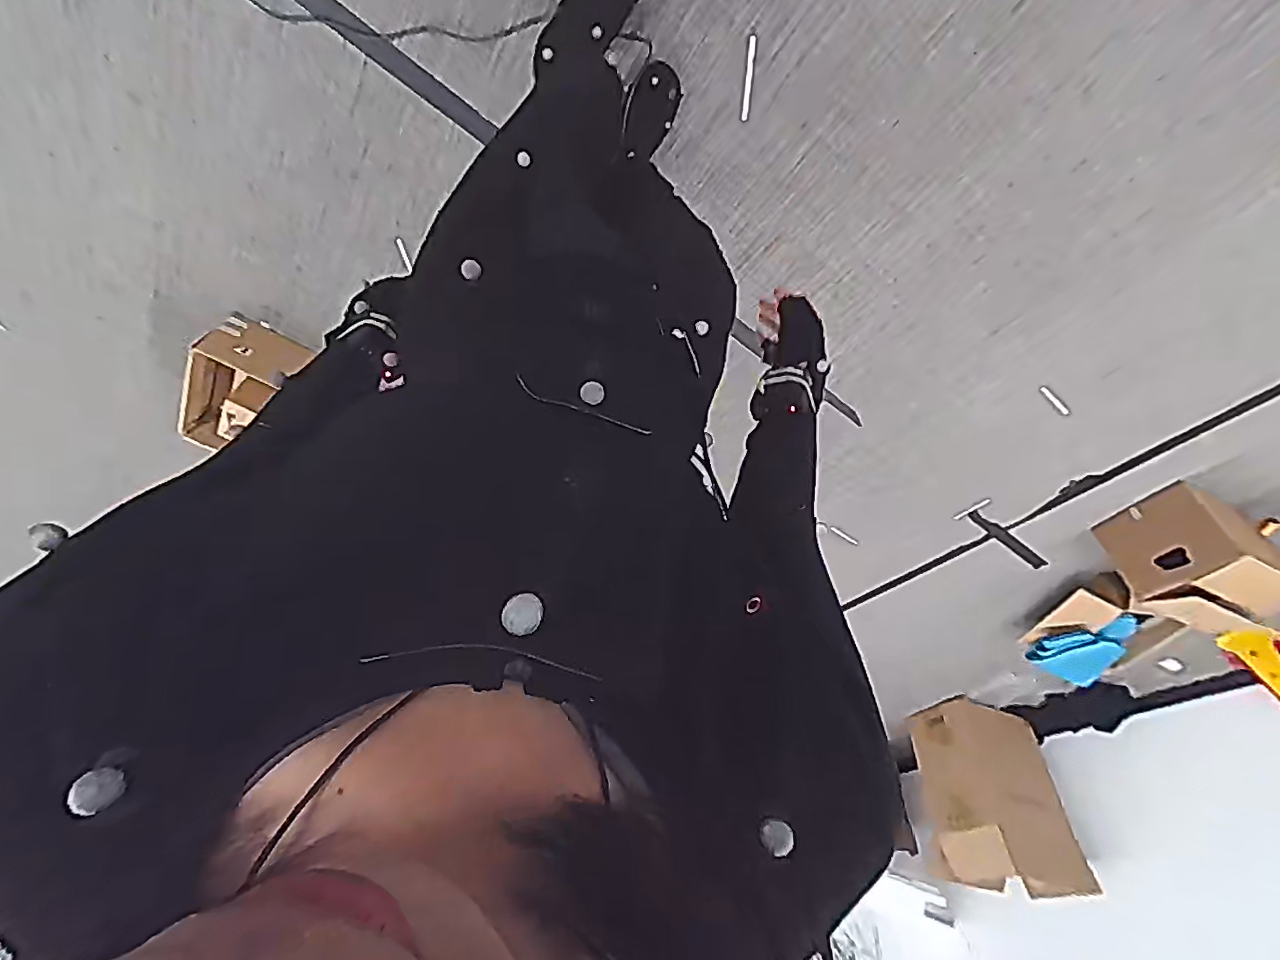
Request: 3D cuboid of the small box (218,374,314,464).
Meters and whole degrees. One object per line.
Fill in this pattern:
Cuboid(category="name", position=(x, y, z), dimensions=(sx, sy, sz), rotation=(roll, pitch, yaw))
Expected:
Cuboid(category="small box", position=(-1.114, -0.186, 1.620), dimensions=(0.179, 0.176, 0.168), rotation=(28, 129, -25))
